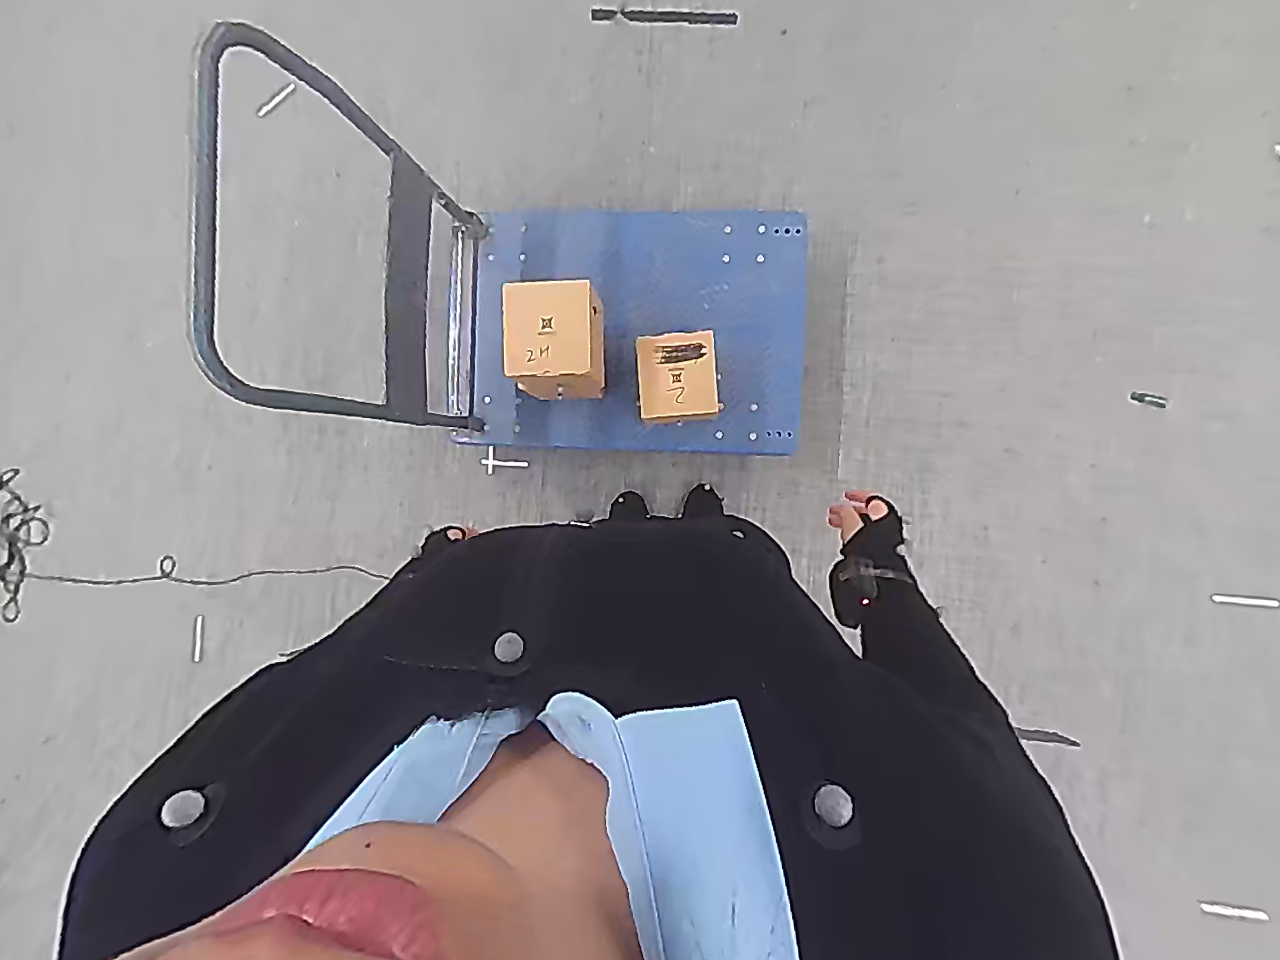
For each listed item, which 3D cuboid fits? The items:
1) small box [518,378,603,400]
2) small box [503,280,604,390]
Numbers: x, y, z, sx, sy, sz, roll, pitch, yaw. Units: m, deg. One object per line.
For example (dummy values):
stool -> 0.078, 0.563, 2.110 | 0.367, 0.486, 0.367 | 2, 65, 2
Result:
small box -> -0.178, -0.285, 1.243 | 0.168, 0.176, 0.179 | -1, 91, 5
small box -> -0.166, -0.281, 1.077 | 0.168, 0.176, 0.179 | 0, 92, 5
